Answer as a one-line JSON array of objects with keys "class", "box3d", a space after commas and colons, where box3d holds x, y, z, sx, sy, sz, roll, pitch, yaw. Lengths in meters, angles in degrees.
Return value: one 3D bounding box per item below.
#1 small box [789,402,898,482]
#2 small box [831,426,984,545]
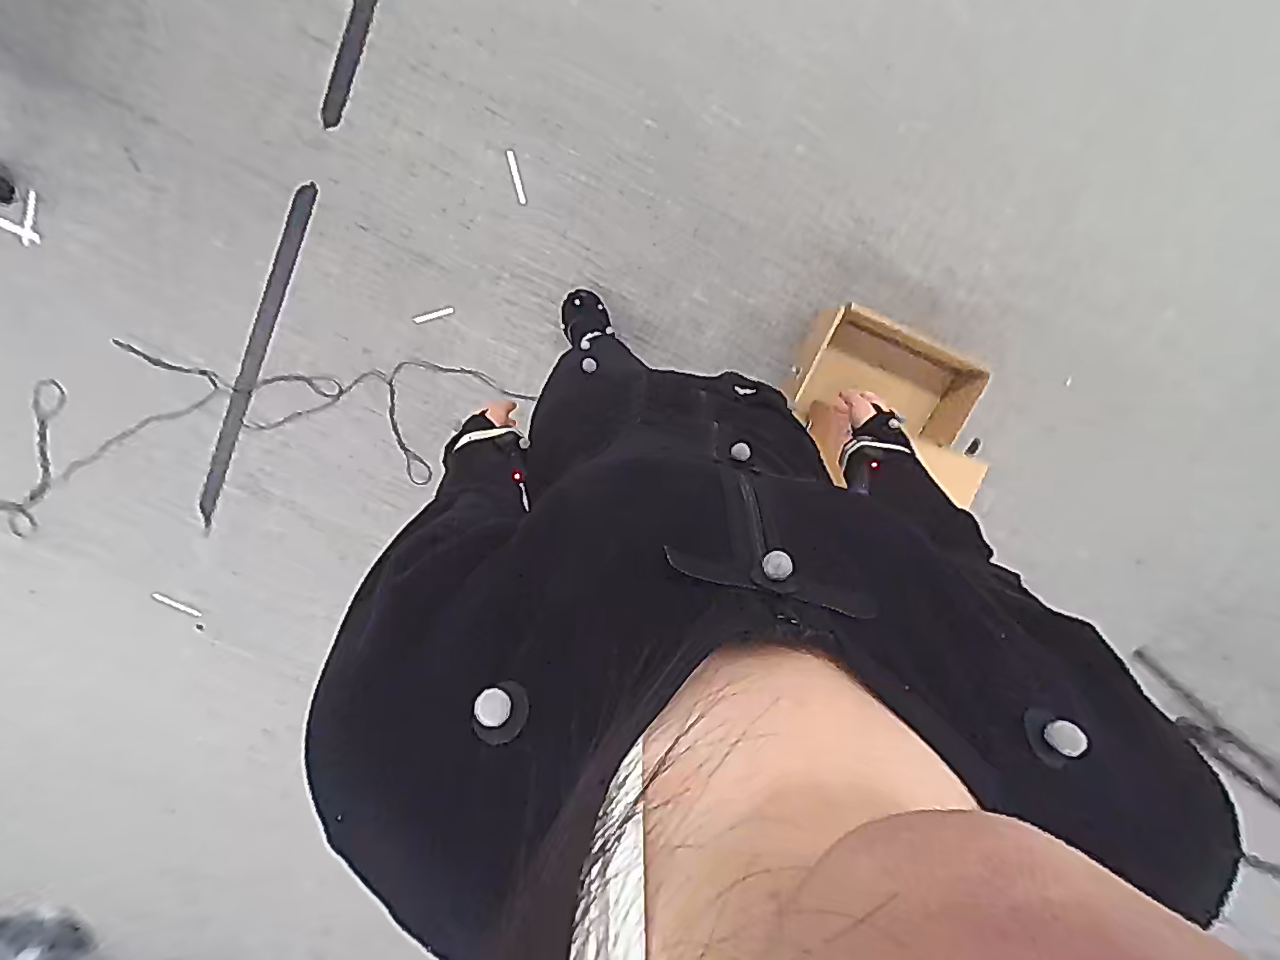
[{"class": "small box", "box3d": [0.502, -0.088, 1.363, 0.179, 0.176, 0.168, 18, 105, -4]}, {"class": "small box", "box3d": [0.504, 0.002, 1.046, 0.179, 0.176, 0.168, 15, 104, -5]}]
